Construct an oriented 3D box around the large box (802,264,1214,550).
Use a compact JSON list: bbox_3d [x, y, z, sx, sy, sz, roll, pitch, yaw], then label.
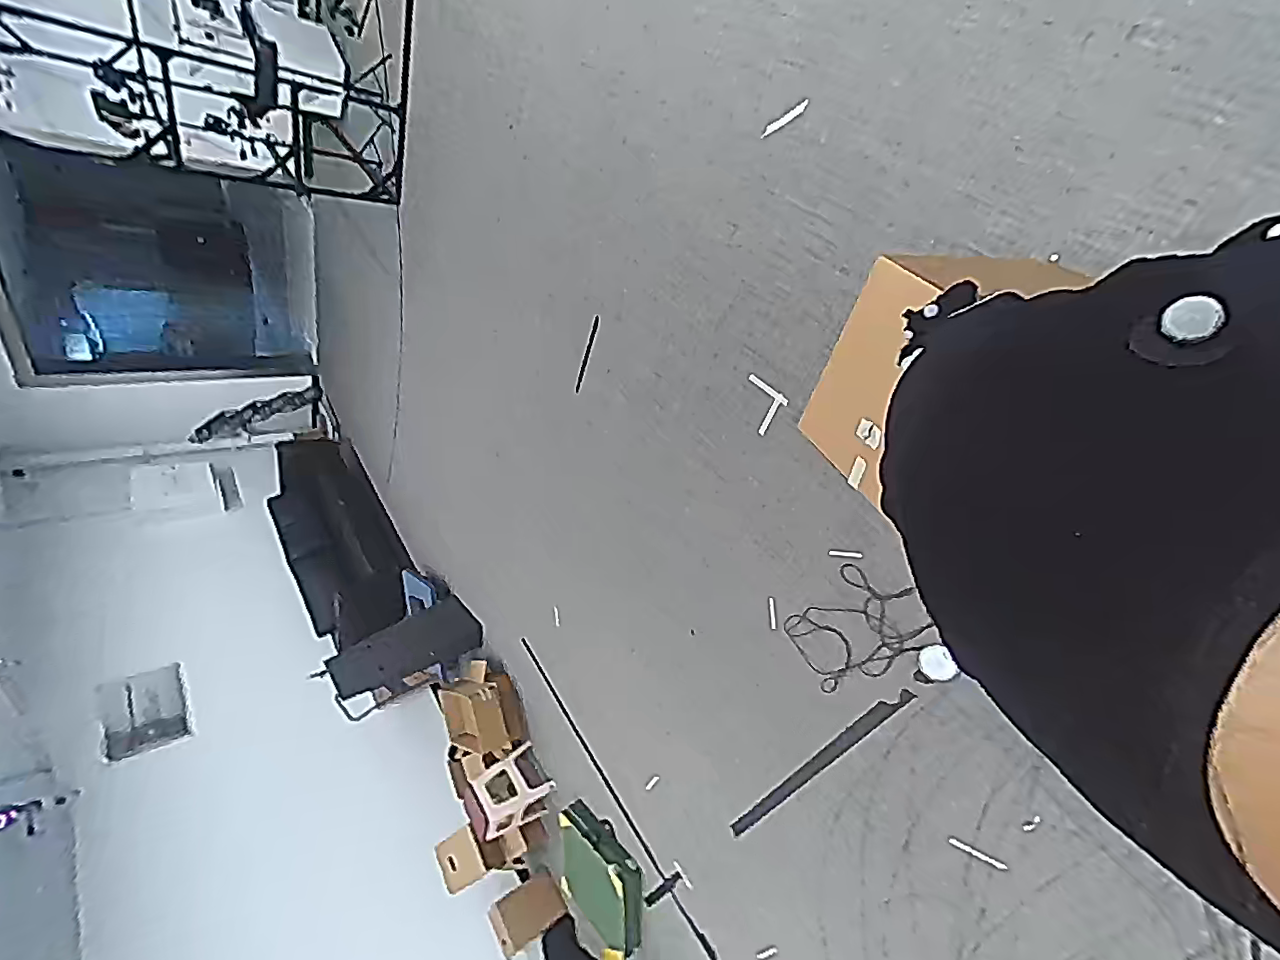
[{"bbox_3d":[0.551,-0.130,0.869,0.320,0.408,0.320,59,147,38],"label":"large box"}]
